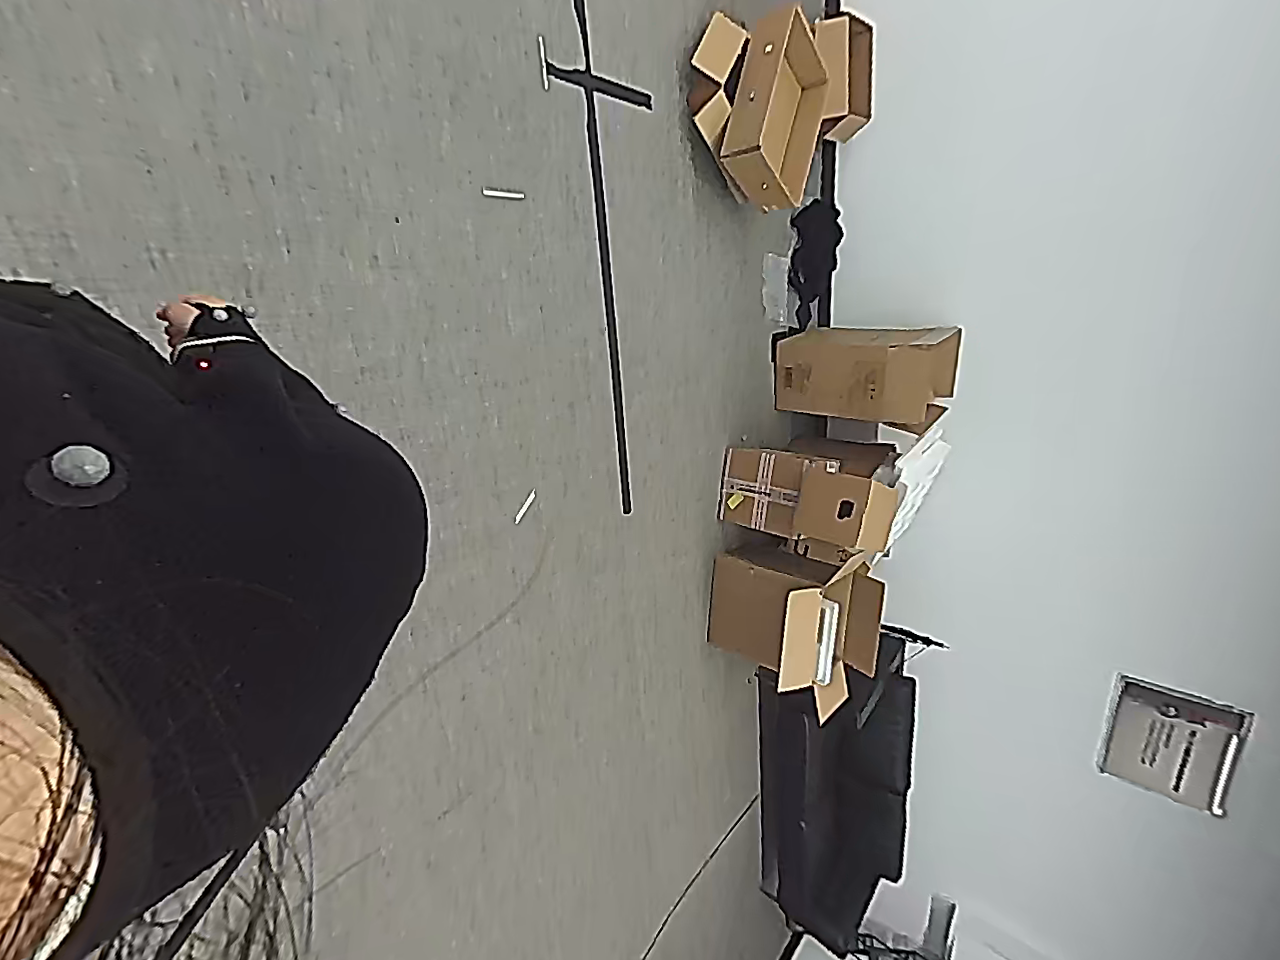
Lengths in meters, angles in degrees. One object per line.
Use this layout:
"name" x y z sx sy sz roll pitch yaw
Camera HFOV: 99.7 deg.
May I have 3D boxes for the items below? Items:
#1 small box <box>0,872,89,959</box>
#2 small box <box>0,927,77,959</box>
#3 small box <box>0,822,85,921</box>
"small box" -1.091 0.822 0.922 0.168 0.176 0.179 -26 119 -42
"small box" -0.972 0.850 0.815 0.179 0.176 0.168 -27 118 -42
"small box" -1.211 0.797 1.027 0.168 0.176 0.179 -26 118 -43
